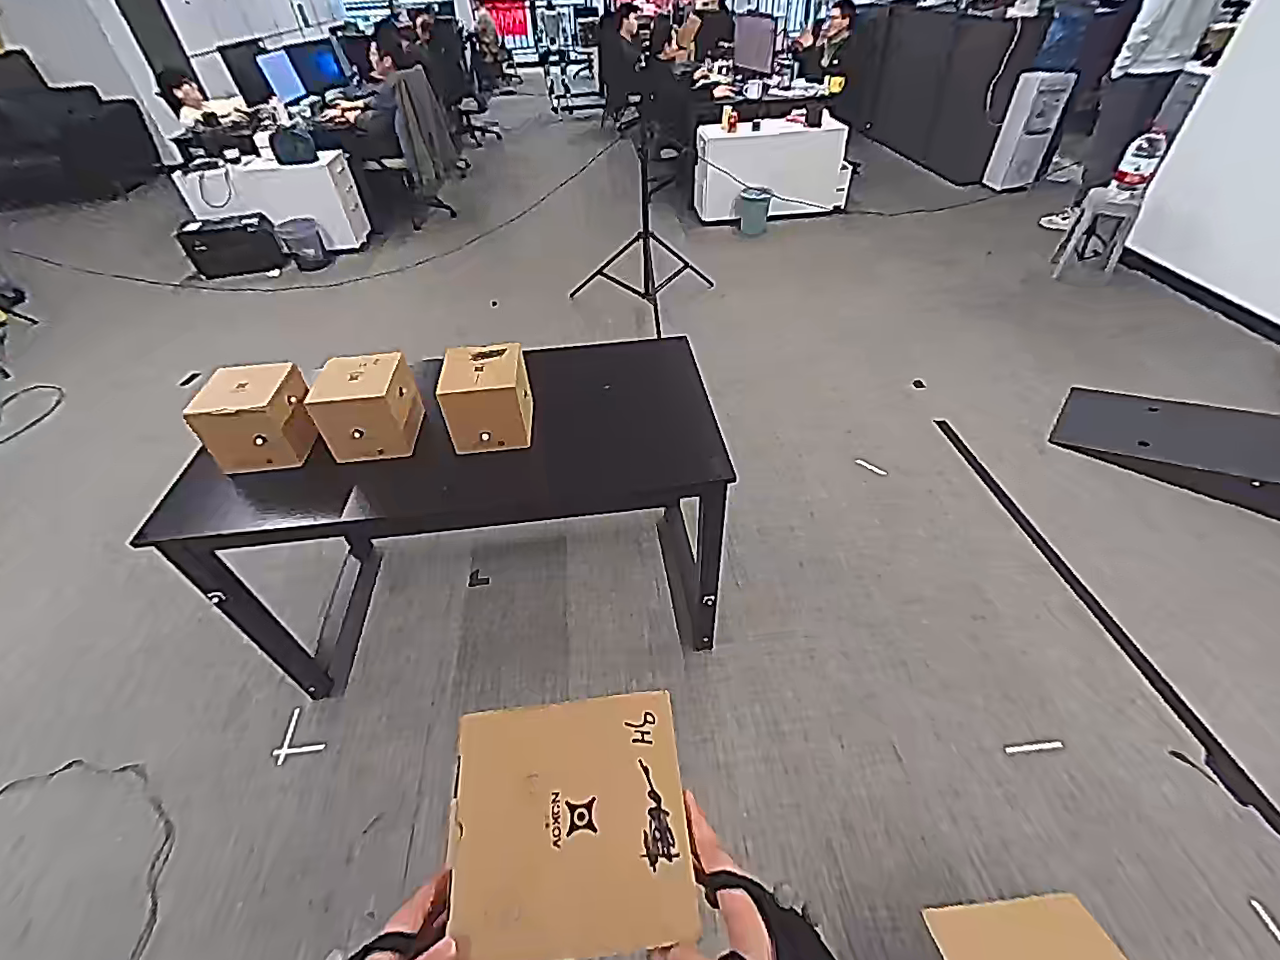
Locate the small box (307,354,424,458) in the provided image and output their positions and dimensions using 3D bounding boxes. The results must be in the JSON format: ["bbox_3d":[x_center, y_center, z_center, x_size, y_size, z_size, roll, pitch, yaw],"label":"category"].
[{"bbox_3d":[-0.603,-0.161,1.214,0.168,0.176,0.179,-5,43,-3],"label":"small box"}]

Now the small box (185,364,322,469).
[{"bbox_3d":[-0.841,-0.136,1.204,0.168,0.176,0.179,-6,43,-4],"label":"small box"}]

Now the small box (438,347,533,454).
[{"bbox_3d":[-0.338,-0.180,1.221,0.168,0.176,0.179,-6,44,-3],"label":"small box"}]

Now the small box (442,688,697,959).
[{"bbox_3d":[-0.052,0.295,0.471,0.179,0.176,0.168,-6,56,-3],"label":"small box"}]
